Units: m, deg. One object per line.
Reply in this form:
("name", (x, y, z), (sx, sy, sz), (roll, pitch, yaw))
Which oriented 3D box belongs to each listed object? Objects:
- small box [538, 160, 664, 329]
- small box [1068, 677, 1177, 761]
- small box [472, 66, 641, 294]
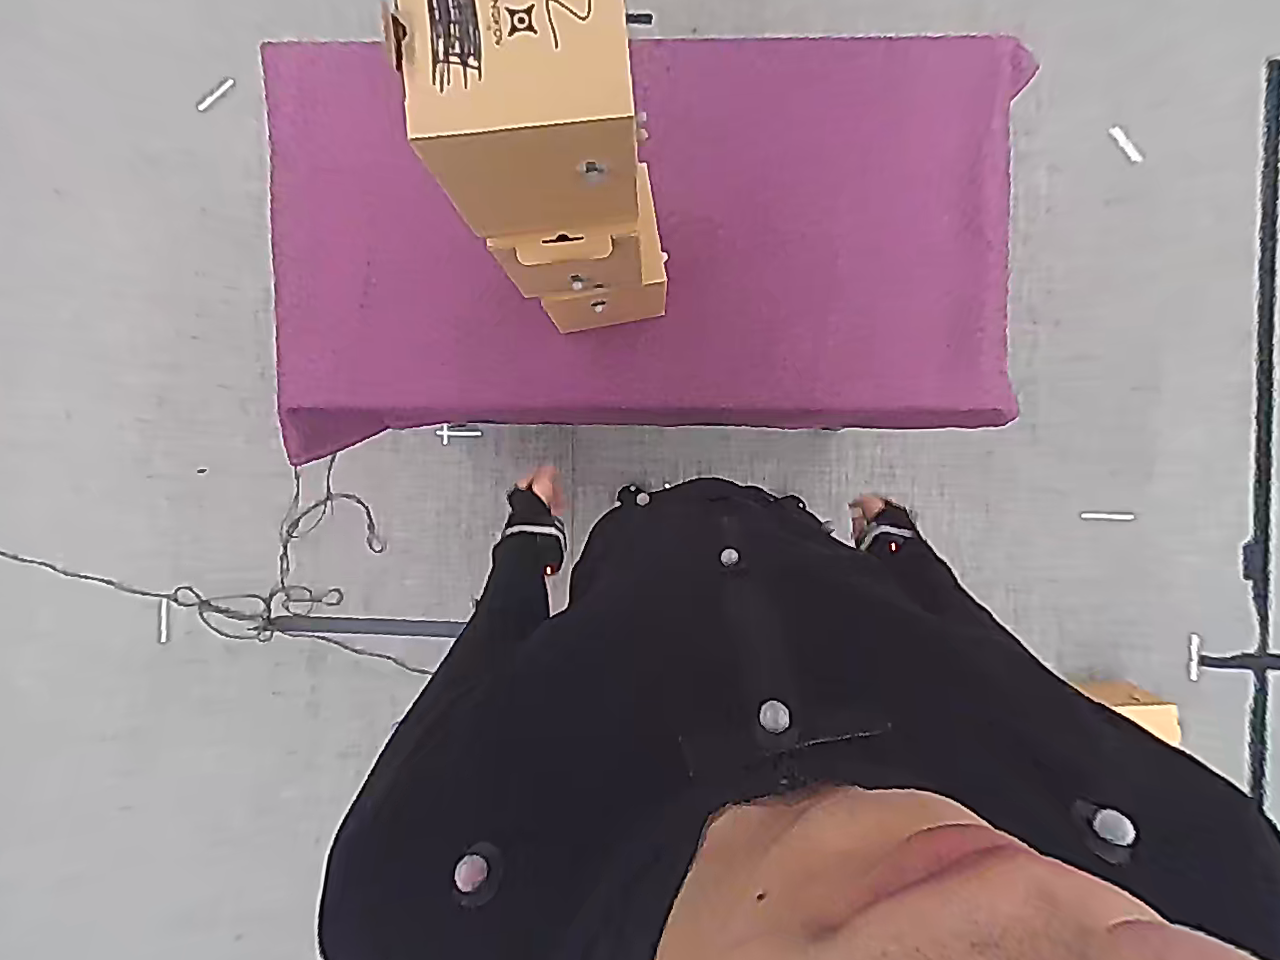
("small box", (-0.062, -0.337, 0.808), (0.179, 0.176, 0.168), (-10, 92, 1))
("small box", (1.358, 0.673, 1.535), (0.179, 0.176, 0.168), (-3, 92, 1))
("small box", (-0.088, -0.340, 0.644), (0.168, 0.176, 0.179), (-5, 91, 2))
